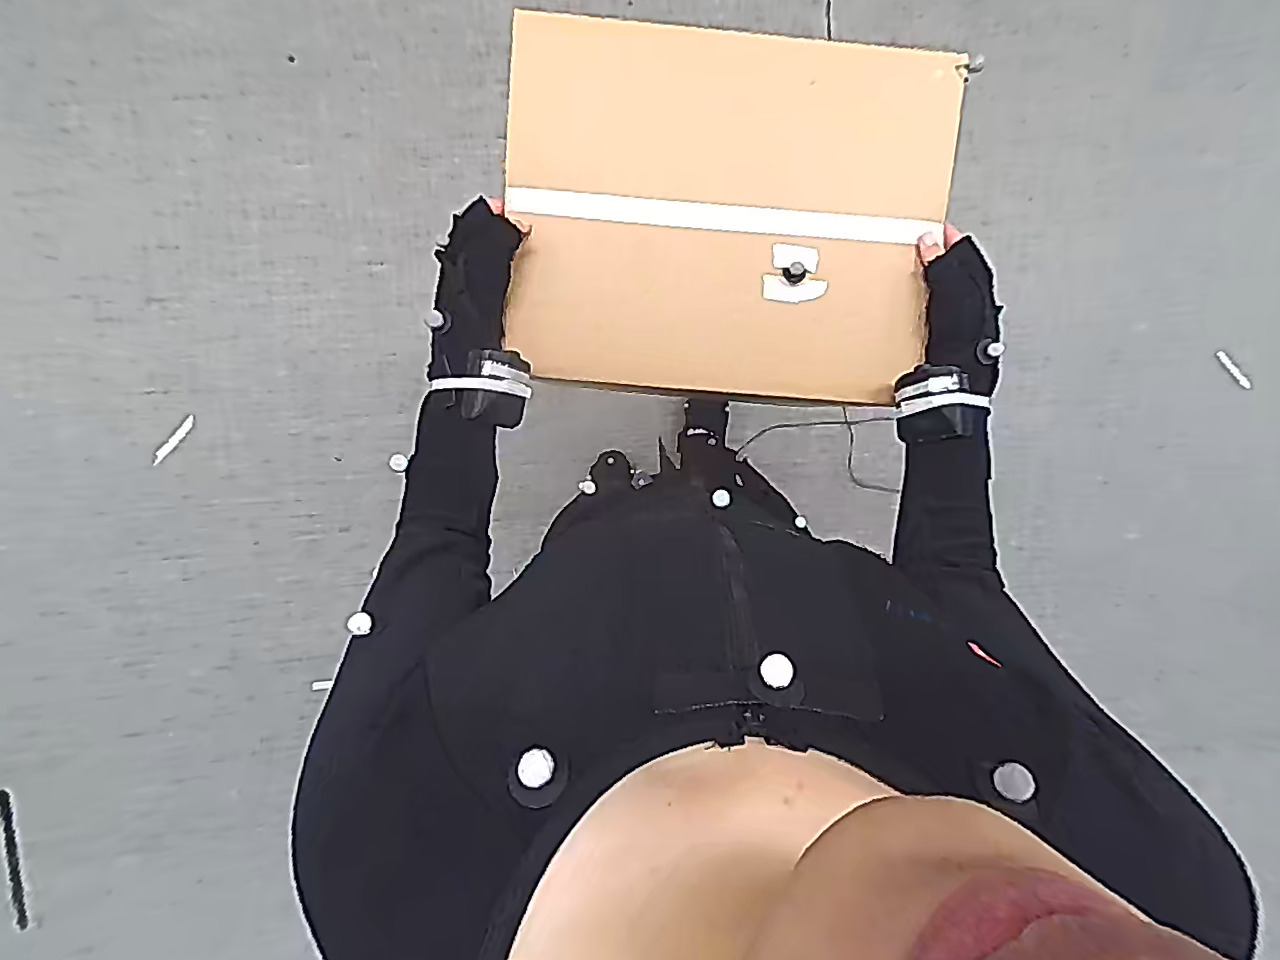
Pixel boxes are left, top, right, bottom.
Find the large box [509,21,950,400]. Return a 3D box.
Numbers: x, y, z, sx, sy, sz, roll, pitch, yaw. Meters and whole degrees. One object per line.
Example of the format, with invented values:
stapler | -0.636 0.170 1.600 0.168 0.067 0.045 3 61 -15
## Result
large box | 0.073 -0.265 0.653 0.408 0.320 0.320 4 98 -2
